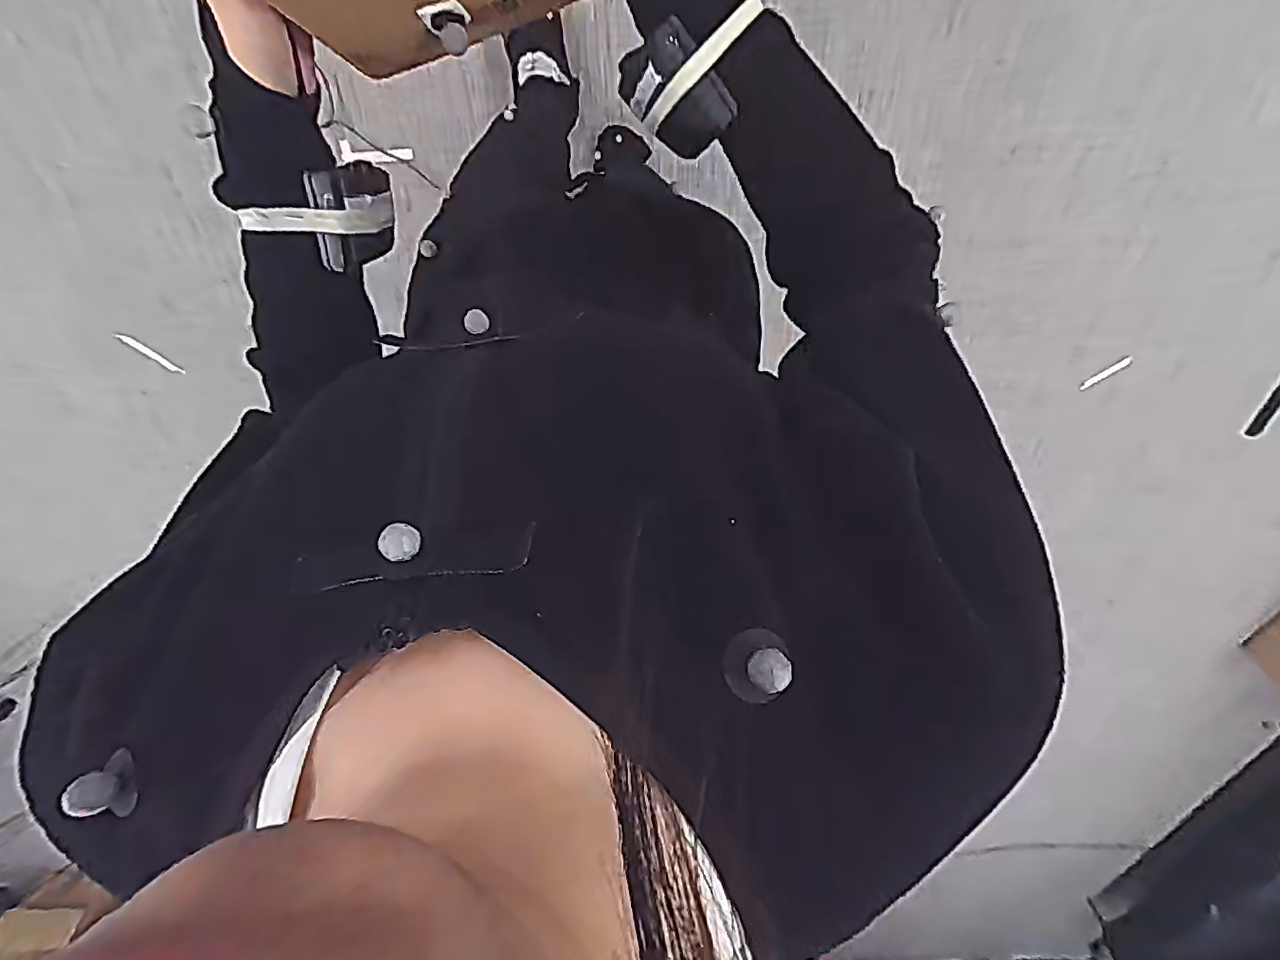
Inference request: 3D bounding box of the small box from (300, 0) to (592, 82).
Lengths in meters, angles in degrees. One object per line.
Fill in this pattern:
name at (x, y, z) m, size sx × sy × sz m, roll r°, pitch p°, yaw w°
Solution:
small box at (-0.128, -0.344, 0.258) m, size 0.168 × 0.176 × 0.179 m, roll -15°, pitch 105°, yaw 10°
